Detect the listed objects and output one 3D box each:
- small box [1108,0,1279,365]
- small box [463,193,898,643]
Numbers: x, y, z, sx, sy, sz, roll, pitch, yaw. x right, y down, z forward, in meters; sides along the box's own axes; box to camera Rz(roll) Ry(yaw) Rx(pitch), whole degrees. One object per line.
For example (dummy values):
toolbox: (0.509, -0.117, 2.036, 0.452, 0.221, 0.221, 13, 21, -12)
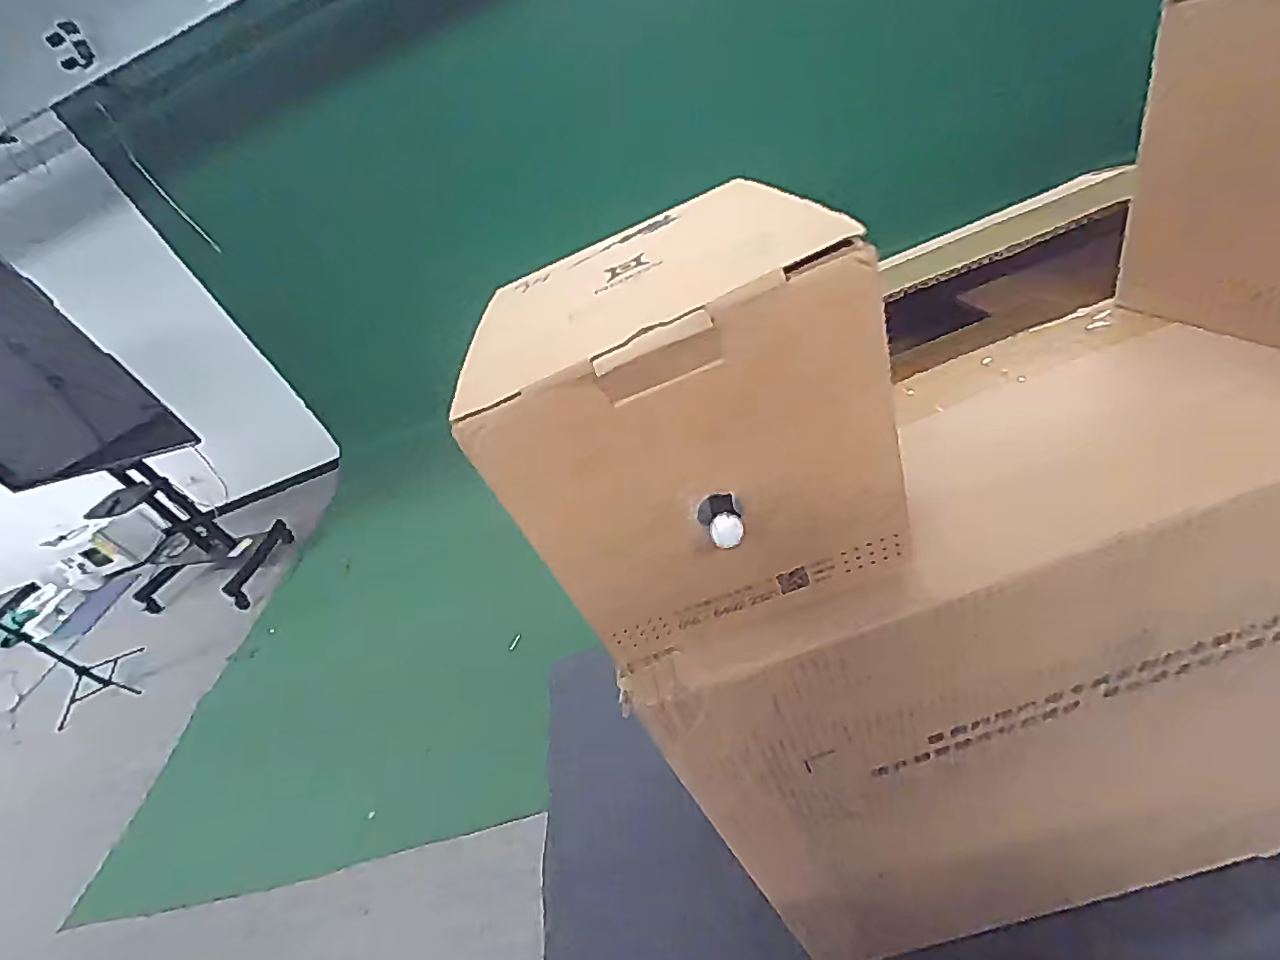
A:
small box: (0.384, -0.162, 0.260, 0.168, 0.176, 0.179, -24, 34, -2)
small box: (0.026, -0.031, 0.310, 0.168, 0.176, 0.179, -21, 35, 7)
